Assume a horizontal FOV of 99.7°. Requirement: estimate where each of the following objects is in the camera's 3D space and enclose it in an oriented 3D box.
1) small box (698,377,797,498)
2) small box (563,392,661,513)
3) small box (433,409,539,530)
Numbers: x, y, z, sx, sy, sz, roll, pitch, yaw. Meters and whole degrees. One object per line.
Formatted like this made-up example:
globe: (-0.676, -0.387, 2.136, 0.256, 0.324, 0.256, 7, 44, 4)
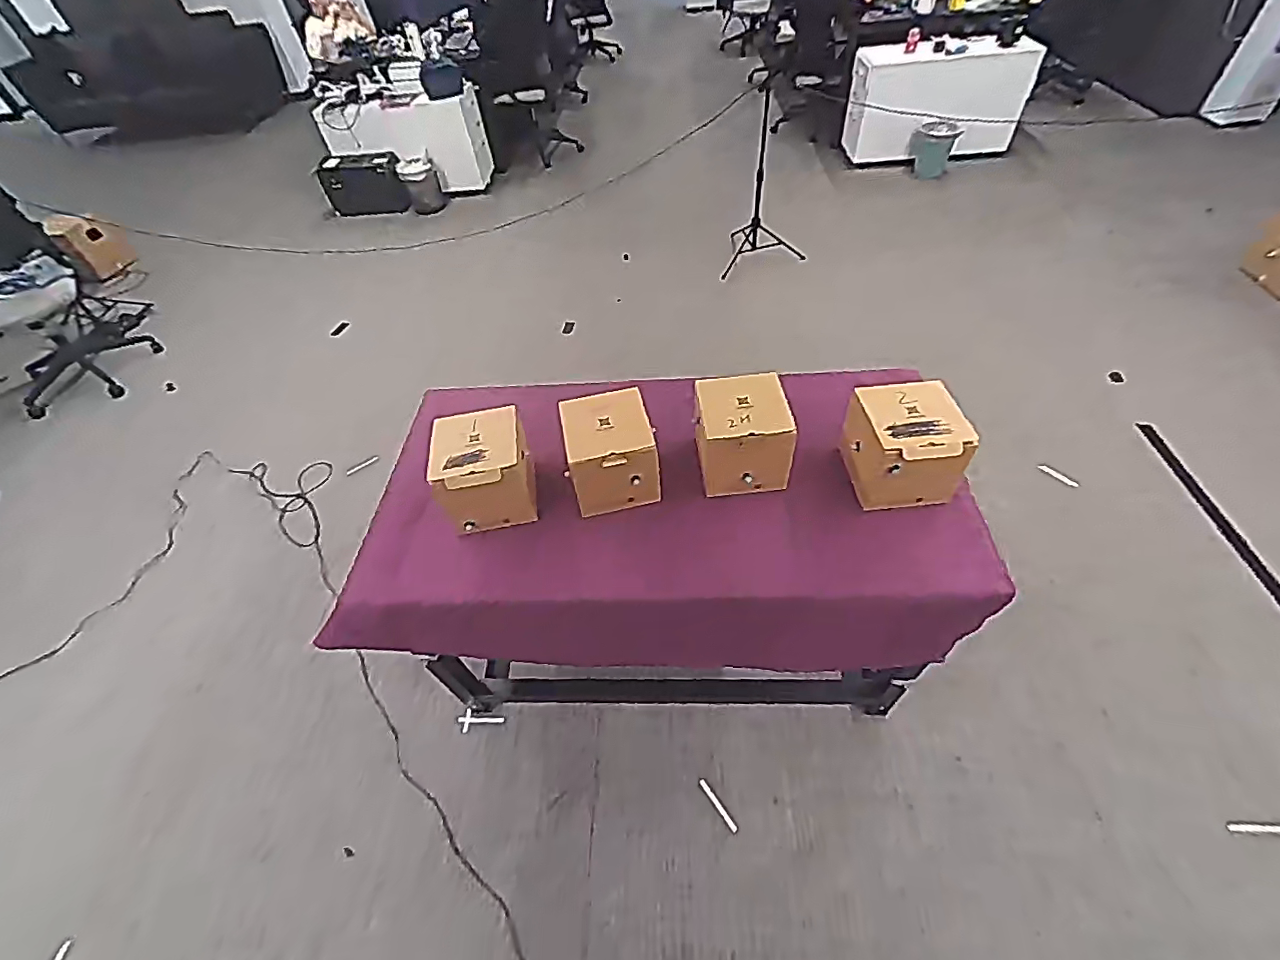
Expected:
small box: (0.209, -0.084, 1.101, 0.168, 0.176, 0.179, -6, 50, 2)
small box: (-0.054, -0.049, 1.102, 0.168, 0.176, 0.179, -11, 49, -4)
small box: (-0.303, -0.014, 1.096, 0.168, 0.176, 0.179, -10, 49, -3)
